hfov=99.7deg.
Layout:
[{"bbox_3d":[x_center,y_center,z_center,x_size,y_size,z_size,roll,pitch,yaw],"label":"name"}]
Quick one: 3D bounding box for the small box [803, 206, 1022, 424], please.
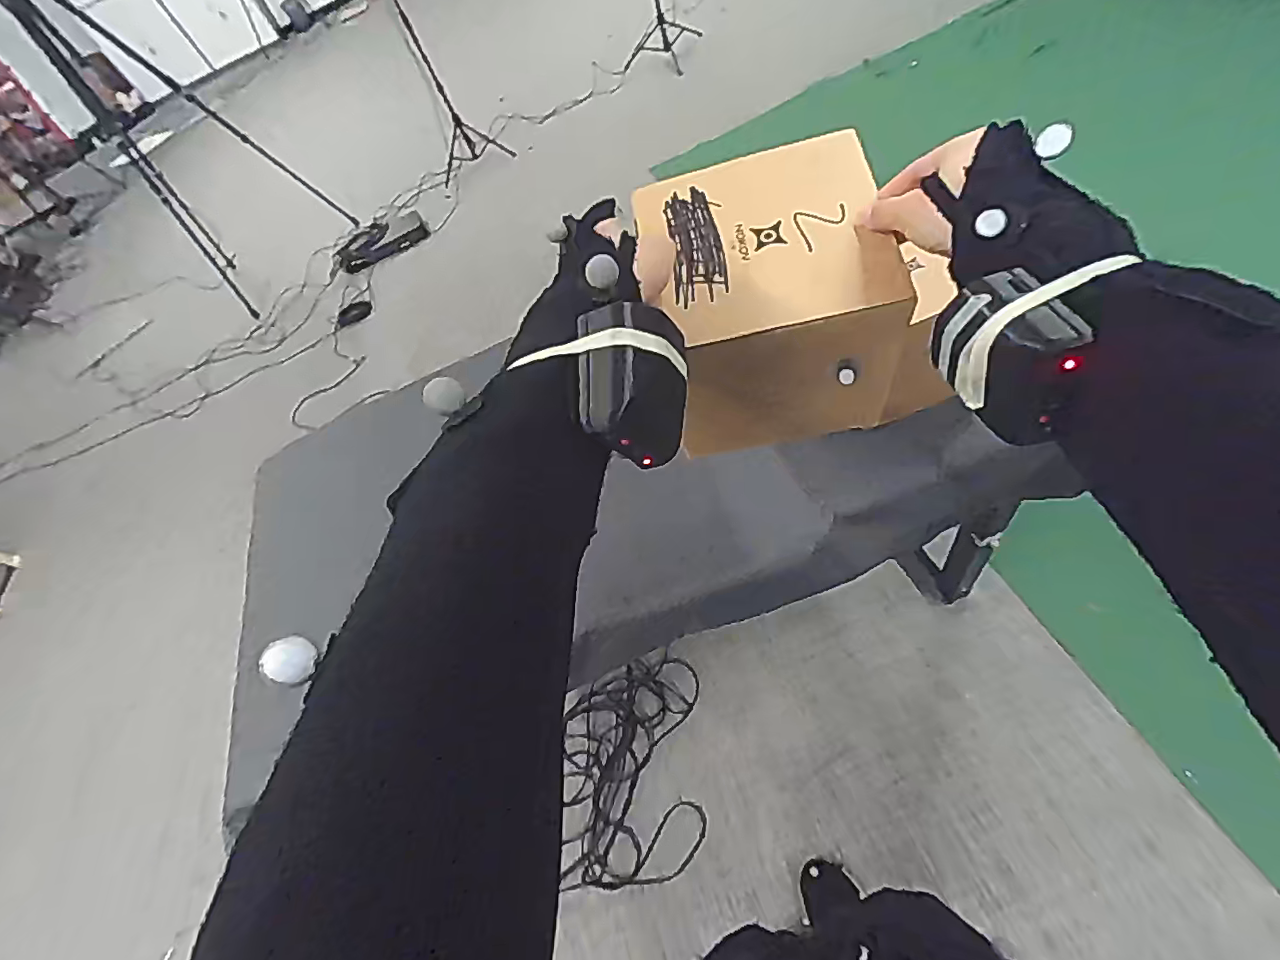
[{"bbox_3d":[0.324,-0.199,0.682,0.179,0.176,0.168,-21,55,4],"label":"small box"}]
